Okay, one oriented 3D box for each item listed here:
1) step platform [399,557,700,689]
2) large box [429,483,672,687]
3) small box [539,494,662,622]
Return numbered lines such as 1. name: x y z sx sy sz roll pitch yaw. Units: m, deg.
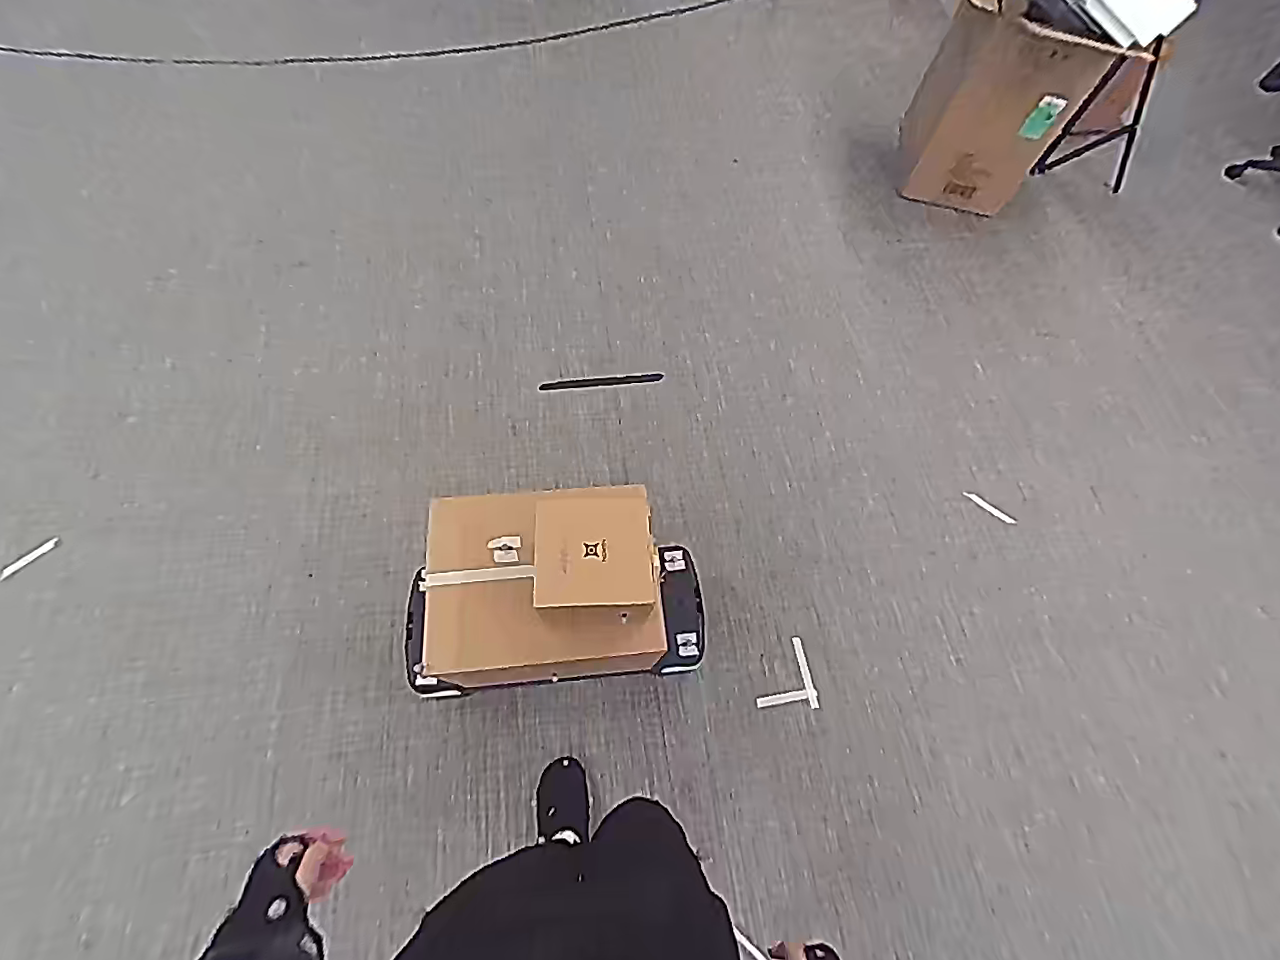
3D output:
1. step platform: -0.199 0.339 1.288 0.684 0.204 0.286 0 65 -3
2. large box: -0.167 0.223 1.081 0.408 0.320 0.320 -5 65 -5
3. small box: -0.063 0.129 0.862 0.179 0.176 0.168 -1 66 -4
